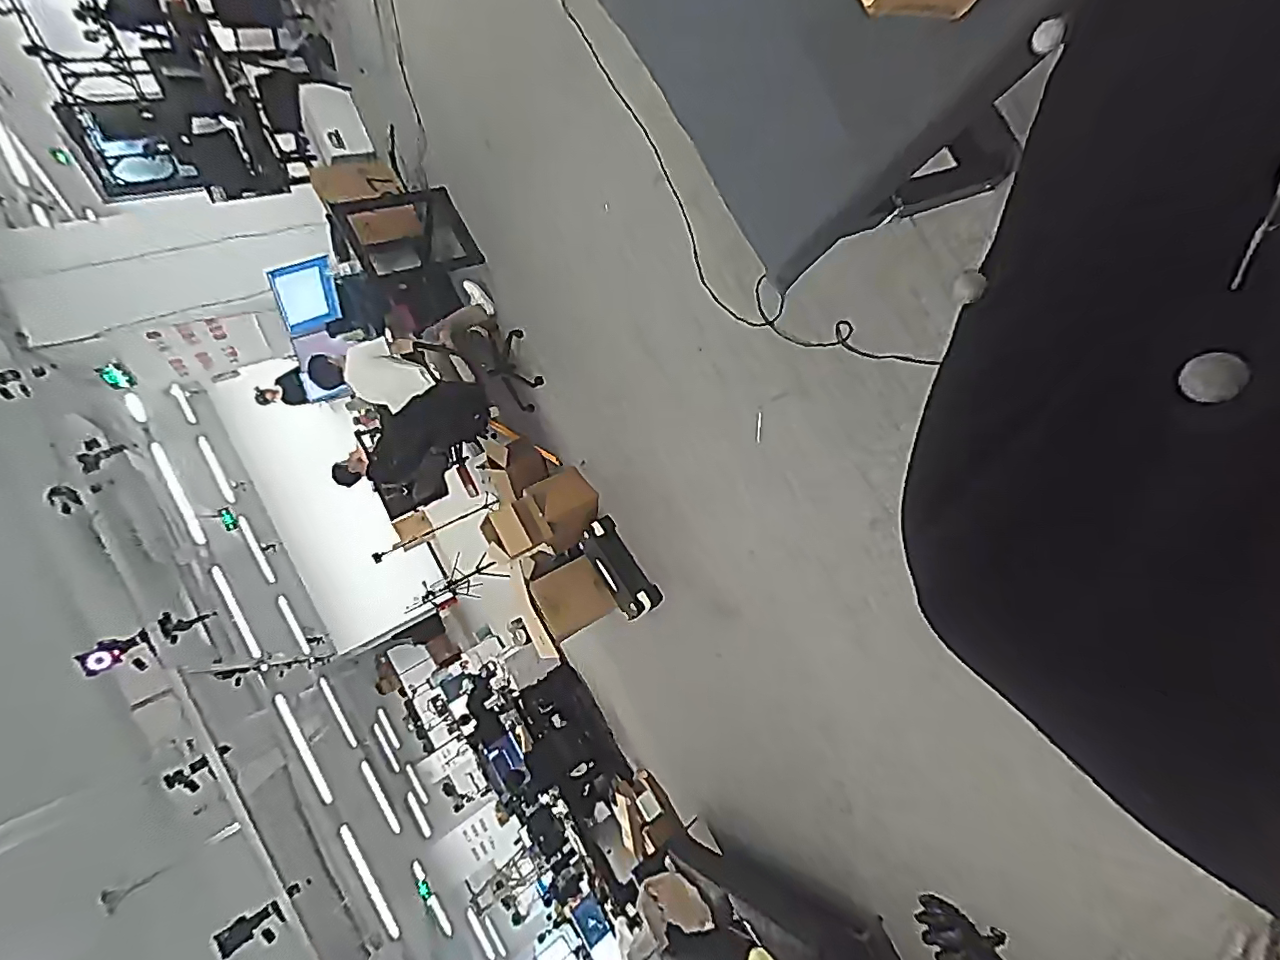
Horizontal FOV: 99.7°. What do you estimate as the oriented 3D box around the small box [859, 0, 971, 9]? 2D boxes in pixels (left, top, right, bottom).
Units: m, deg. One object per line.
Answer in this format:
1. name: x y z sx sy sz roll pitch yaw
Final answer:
1. small box: 0.272 -0.552 0.461 0.168 0.176 0.179 64 152 3
